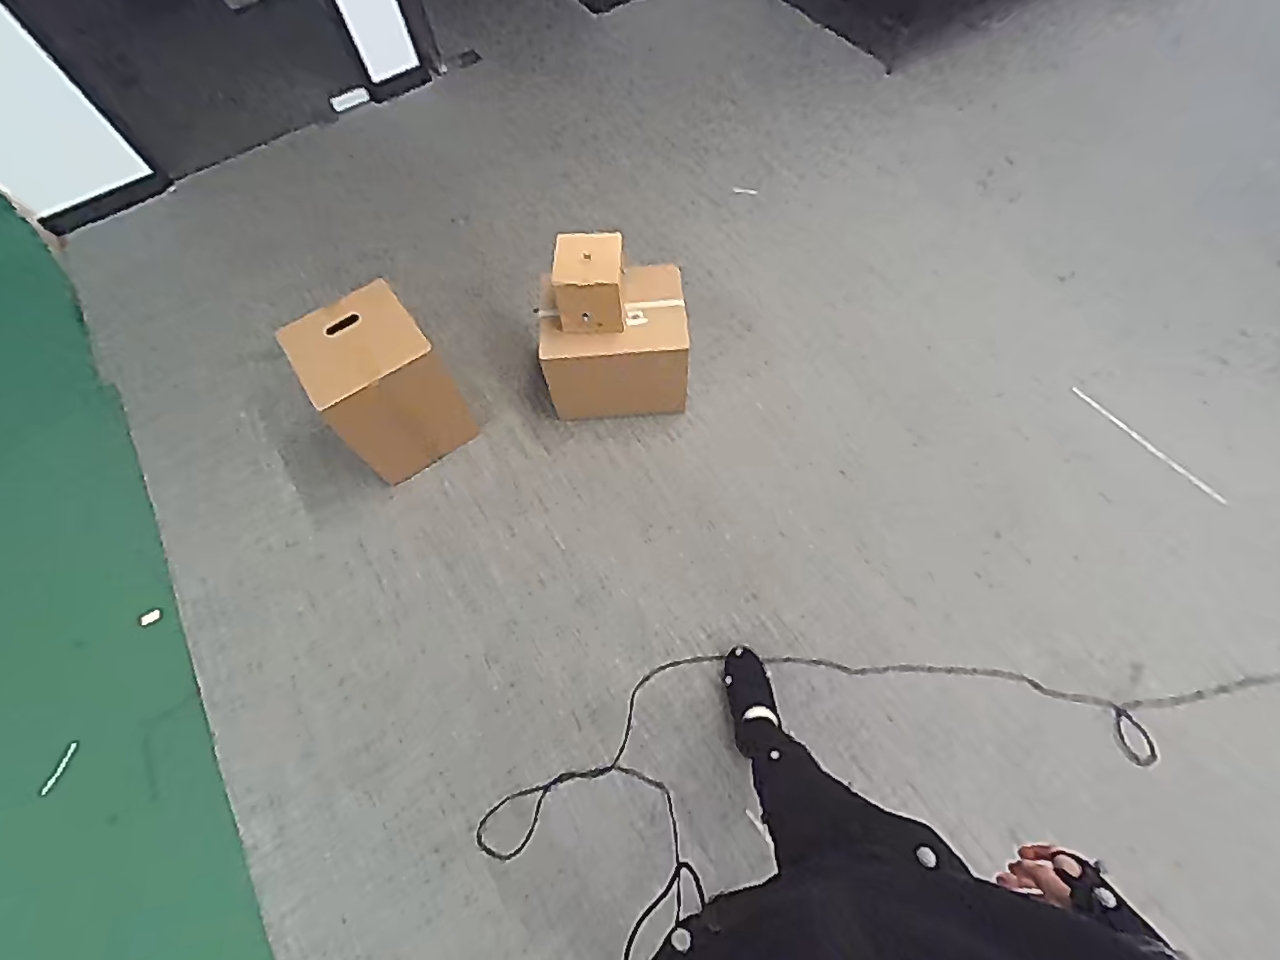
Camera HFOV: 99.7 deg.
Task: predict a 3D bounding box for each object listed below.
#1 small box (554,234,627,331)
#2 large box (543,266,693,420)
[{"bbox_3d":[-0.122,-0.511,1.403,0.168,0.176,0.179,0,63,3],"label":"small box"},{"bbox_3d":[-0.067,-0.399,1.616,0.408,0.320,0.320,-4,64,0],"label":"large box"}]
